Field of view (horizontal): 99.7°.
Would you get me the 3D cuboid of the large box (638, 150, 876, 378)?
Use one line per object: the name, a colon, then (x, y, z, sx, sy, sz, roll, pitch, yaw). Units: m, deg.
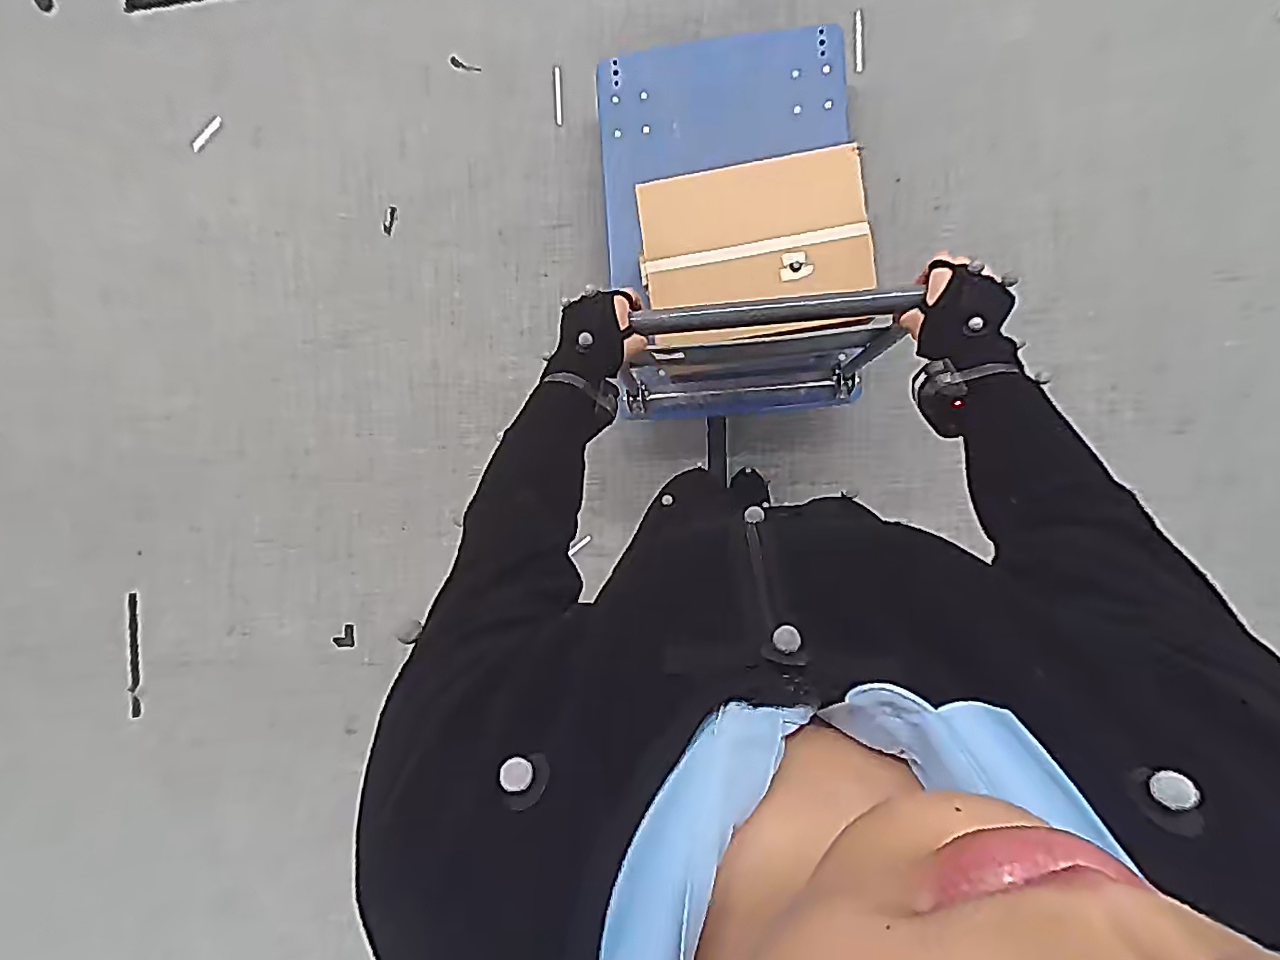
large box: (0.224, -0.421, 1.144, 0.408, 0.320, 0.320, -8, 91, 5)
